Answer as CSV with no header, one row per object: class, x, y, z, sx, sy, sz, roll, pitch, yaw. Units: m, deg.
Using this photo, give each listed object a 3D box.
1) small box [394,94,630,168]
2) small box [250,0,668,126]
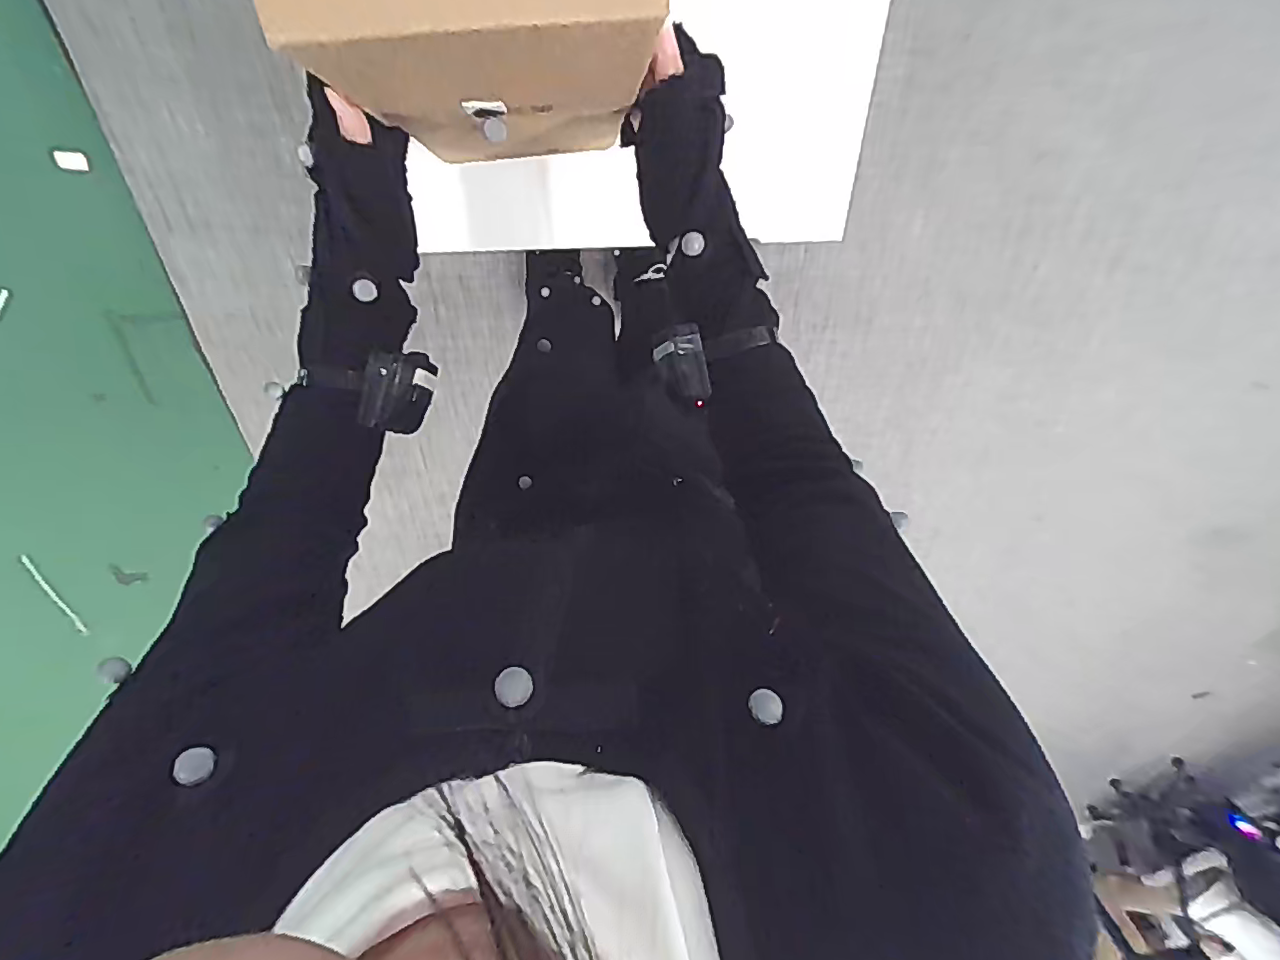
small box,-0.104,-0.363,0.420,0.168,0.176,0.179,-8,112,-4
small box,-0.084,-0.293,0.255,0.168,0.176,0.179,-8,113,-3
